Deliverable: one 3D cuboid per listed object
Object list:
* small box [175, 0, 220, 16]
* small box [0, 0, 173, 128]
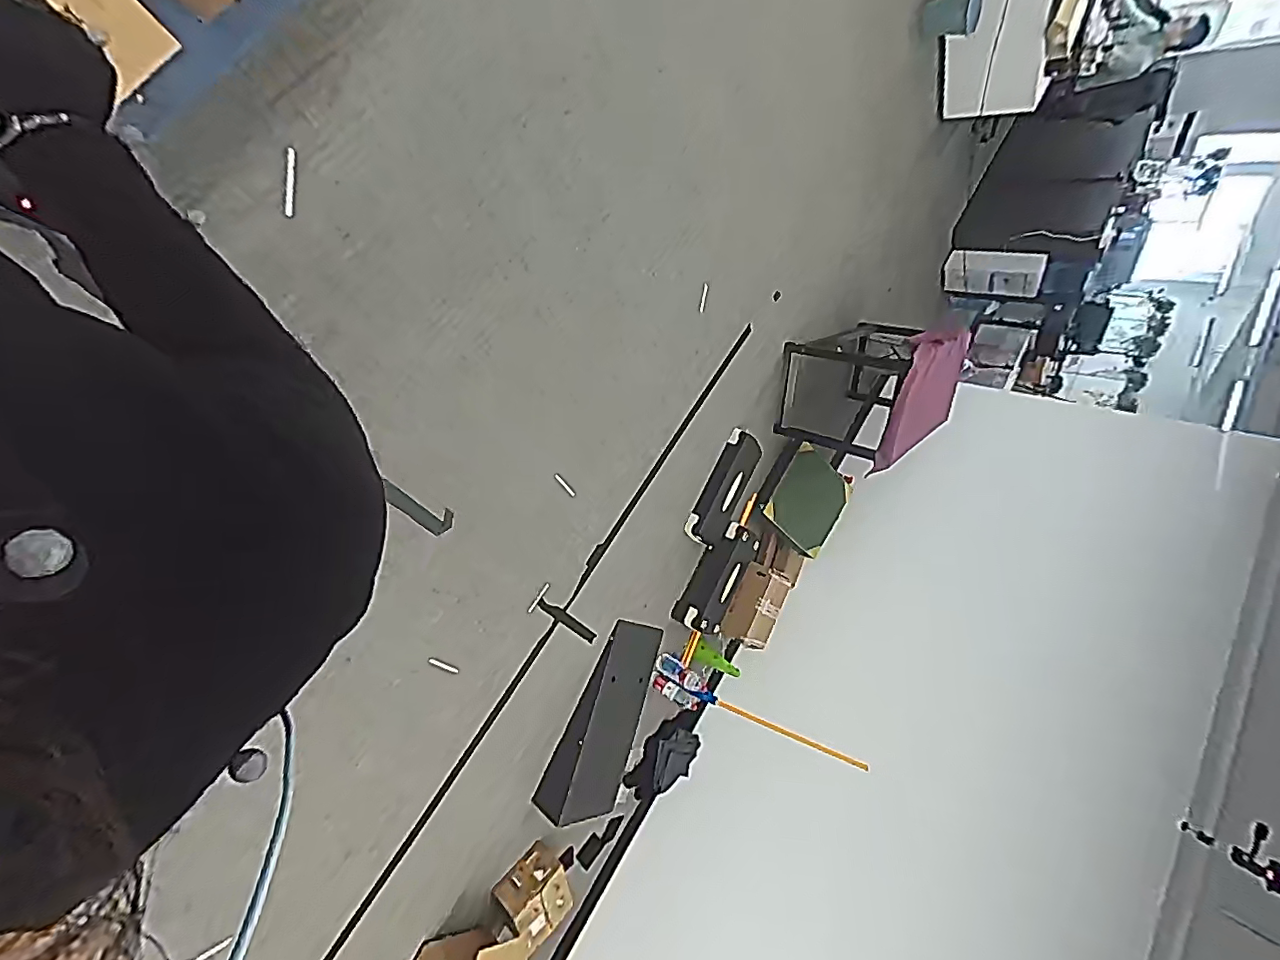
[{"bbox_3d":[-0.685,-0.842,0.796,0.168,0.176,0.179,29,84,-54],"label":"small box"},{"bbox_3d":[-0.812,-0.622,0.749,0.179,0.176,0.168,-59,144,-14],"label":"small box"}]
